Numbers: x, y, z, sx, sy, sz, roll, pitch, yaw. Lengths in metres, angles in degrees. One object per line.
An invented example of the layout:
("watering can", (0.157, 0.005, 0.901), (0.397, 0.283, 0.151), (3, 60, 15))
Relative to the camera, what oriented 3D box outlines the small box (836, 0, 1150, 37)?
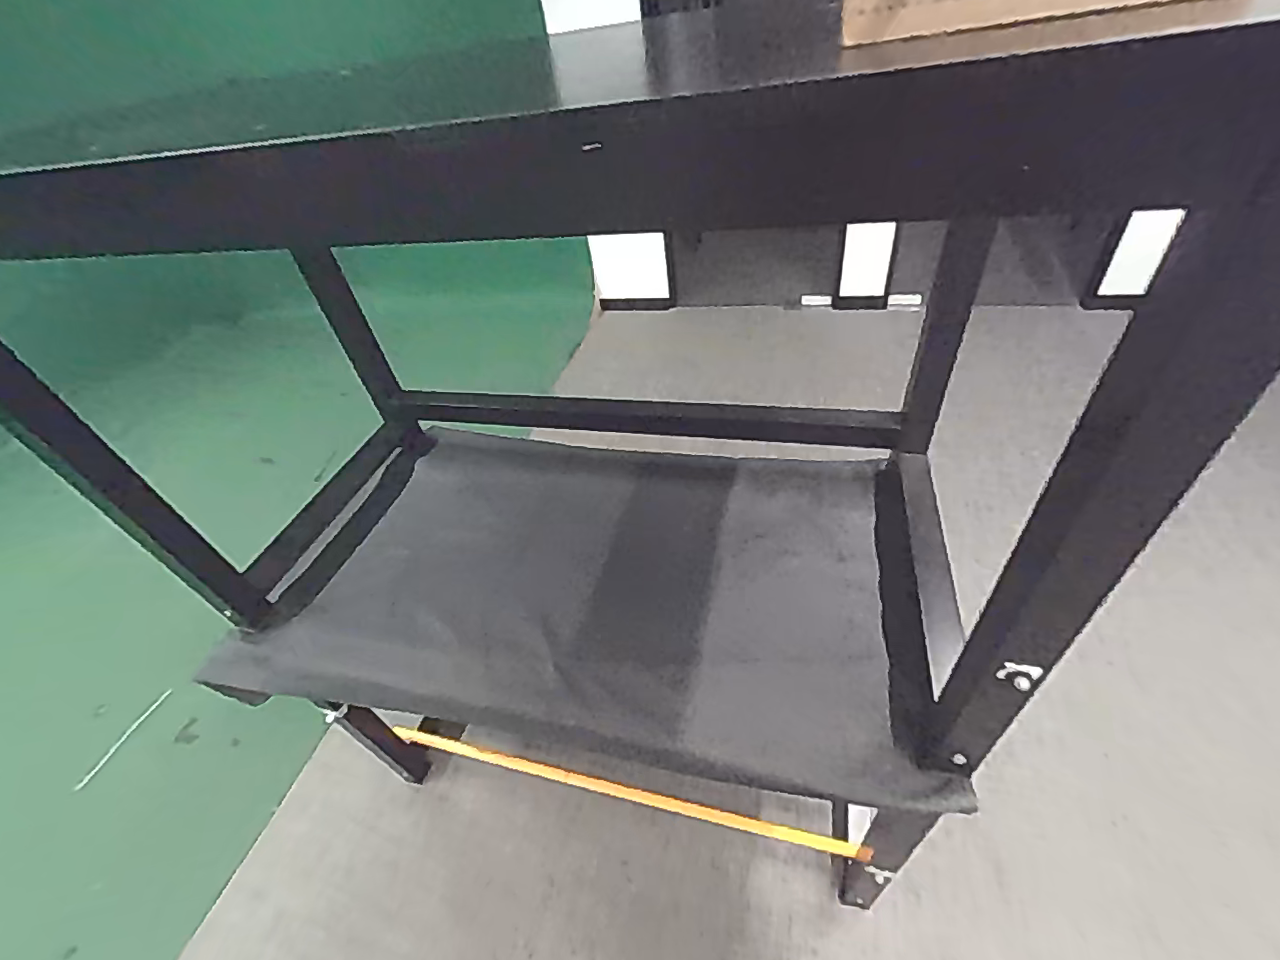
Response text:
("small box", (0.191, -0.333, 0.259), (0.168, 0.176, 0.179), (7, 43, 19))
